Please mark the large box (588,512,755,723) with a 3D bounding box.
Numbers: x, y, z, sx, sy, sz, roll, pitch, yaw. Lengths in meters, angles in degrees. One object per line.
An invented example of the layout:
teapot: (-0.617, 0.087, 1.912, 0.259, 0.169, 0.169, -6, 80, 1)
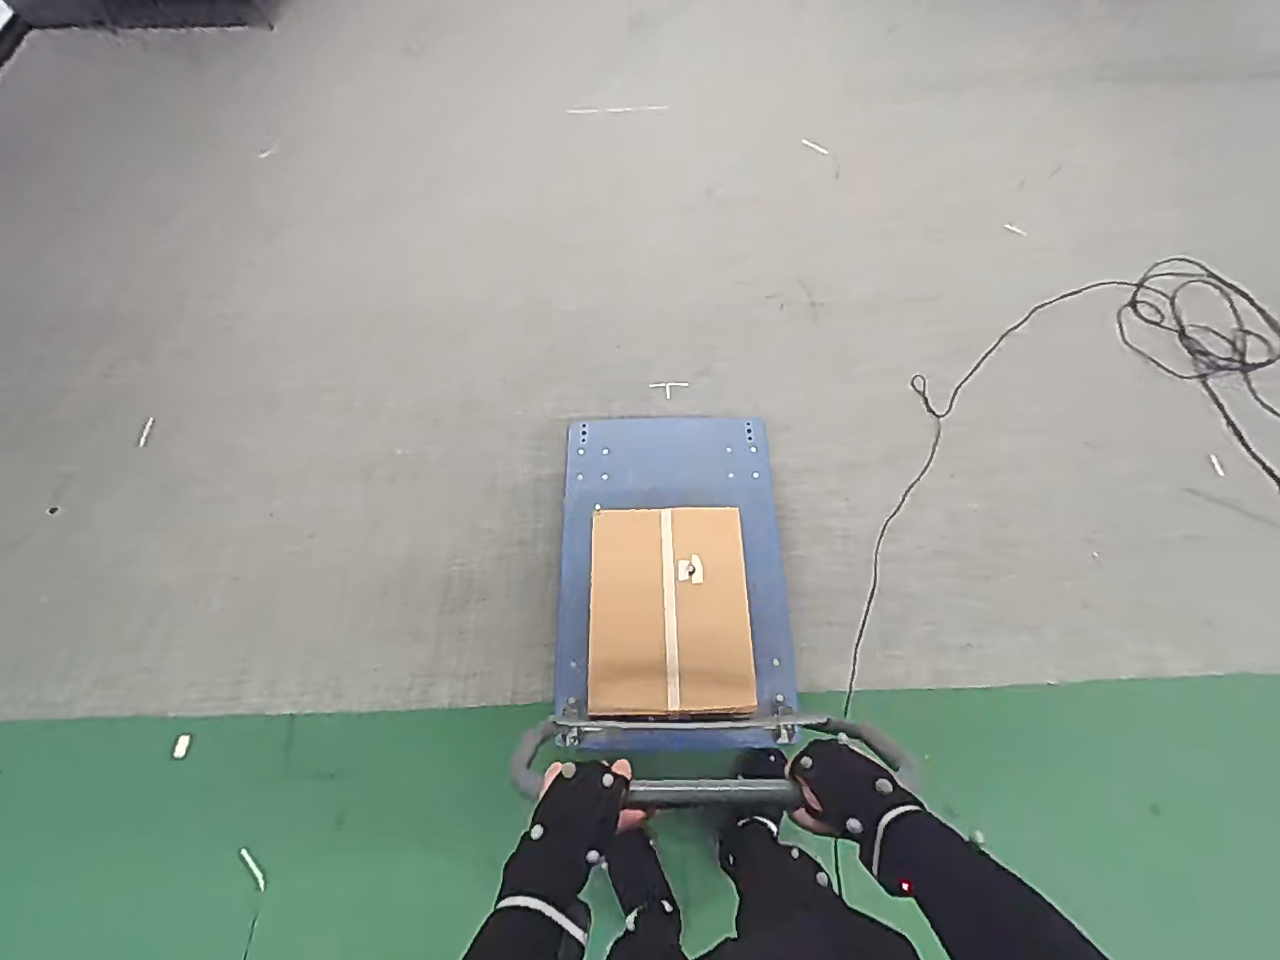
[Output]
large box: (0.056, 0.316, 1.208, 0.320, 0.320, 0.408, 0, 64, -1)
